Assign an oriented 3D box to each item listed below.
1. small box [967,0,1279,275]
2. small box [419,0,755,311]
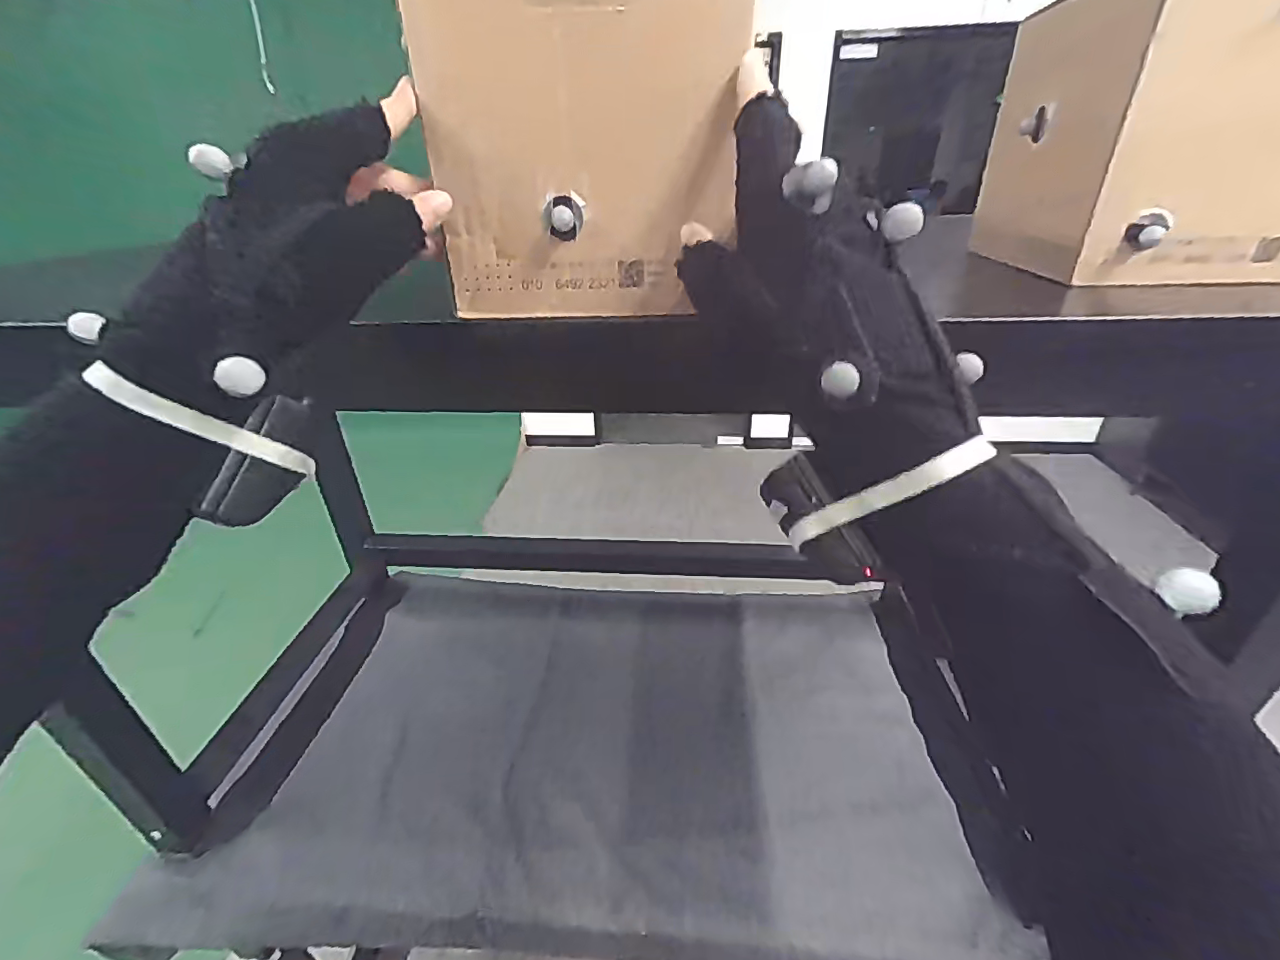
[{"bbox_3d":[0.362,-0.241,0.376,0.168,0.176,0.179,2,29,8],"label":"small box"},{"bbox_3d":[-0.026,-0.215,0.356,0.168,0.176,0.179,-1,29,1],"label":"small box"}]
